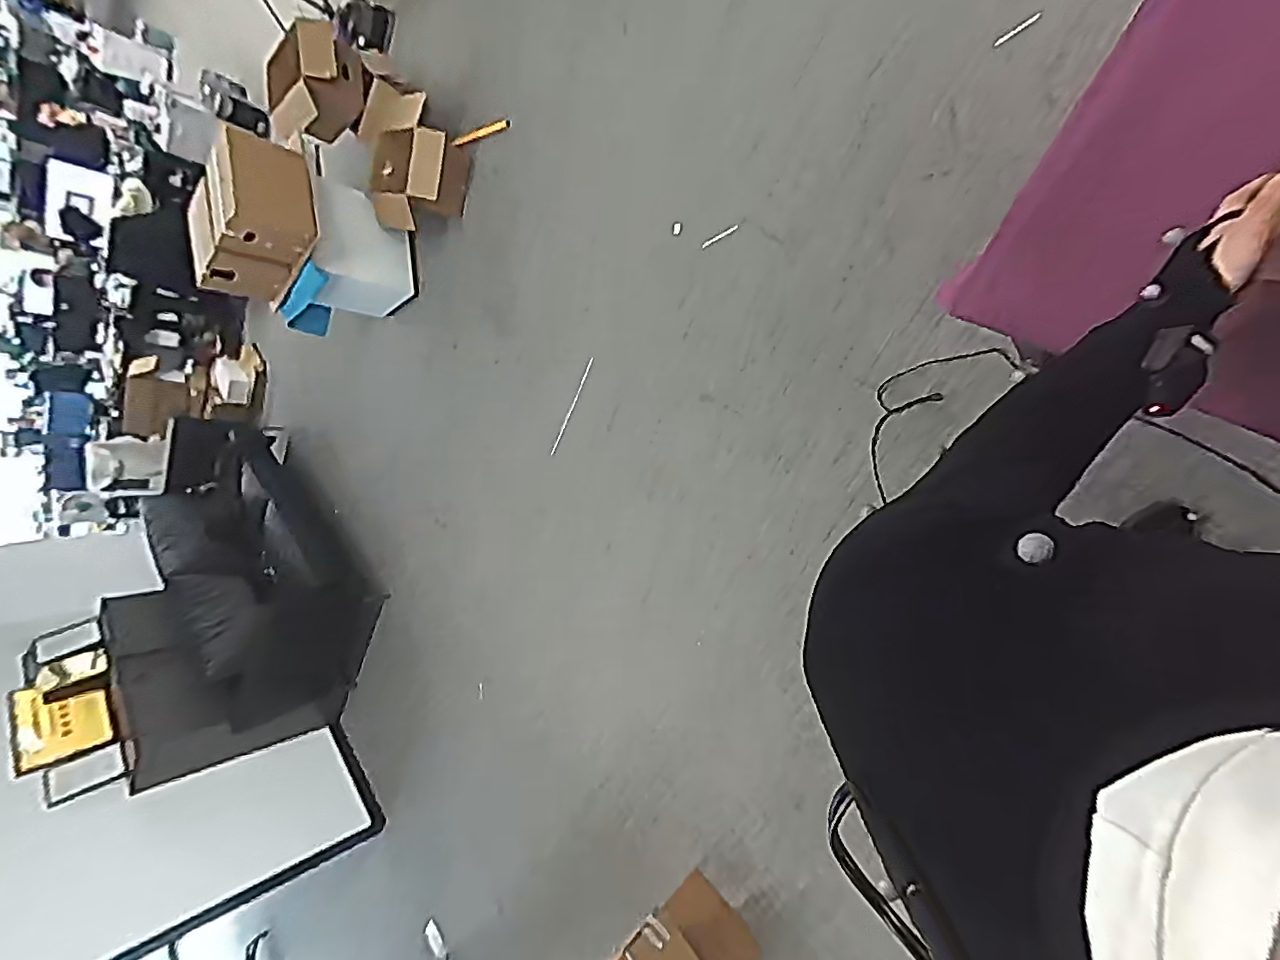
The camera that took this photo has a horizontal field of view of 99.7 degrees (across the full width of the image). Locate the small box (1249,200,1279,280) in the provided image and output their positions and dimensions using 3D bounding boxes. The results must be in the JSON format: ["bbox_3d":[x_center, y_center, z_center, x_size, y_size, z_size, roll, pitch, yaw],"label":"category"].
[{"bbox_3d":[0.725,-0.277,0.487,0.179,0.176,0.168,24,105,35],"label":"small box"}]
